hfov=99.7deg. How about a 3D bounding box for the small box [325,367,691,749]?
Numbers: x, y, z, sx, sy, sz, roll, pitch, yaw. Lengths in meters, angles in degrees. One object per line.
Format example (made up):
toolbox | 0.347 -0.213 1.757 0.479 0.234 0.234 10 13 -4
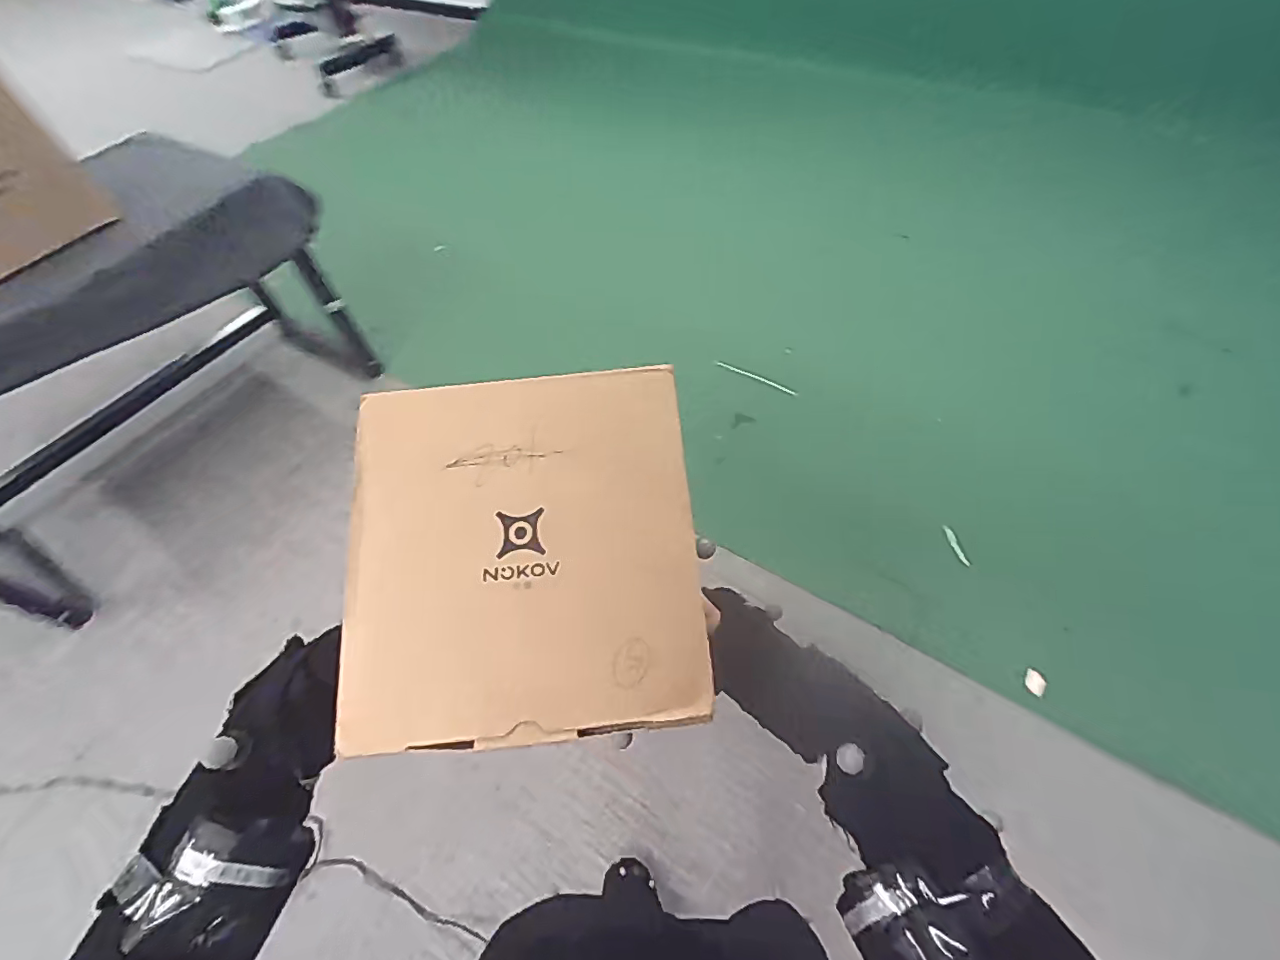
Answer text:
small box | -0.065 0.053 0.339 0.168 0.176 0.179 -6 70 -3
